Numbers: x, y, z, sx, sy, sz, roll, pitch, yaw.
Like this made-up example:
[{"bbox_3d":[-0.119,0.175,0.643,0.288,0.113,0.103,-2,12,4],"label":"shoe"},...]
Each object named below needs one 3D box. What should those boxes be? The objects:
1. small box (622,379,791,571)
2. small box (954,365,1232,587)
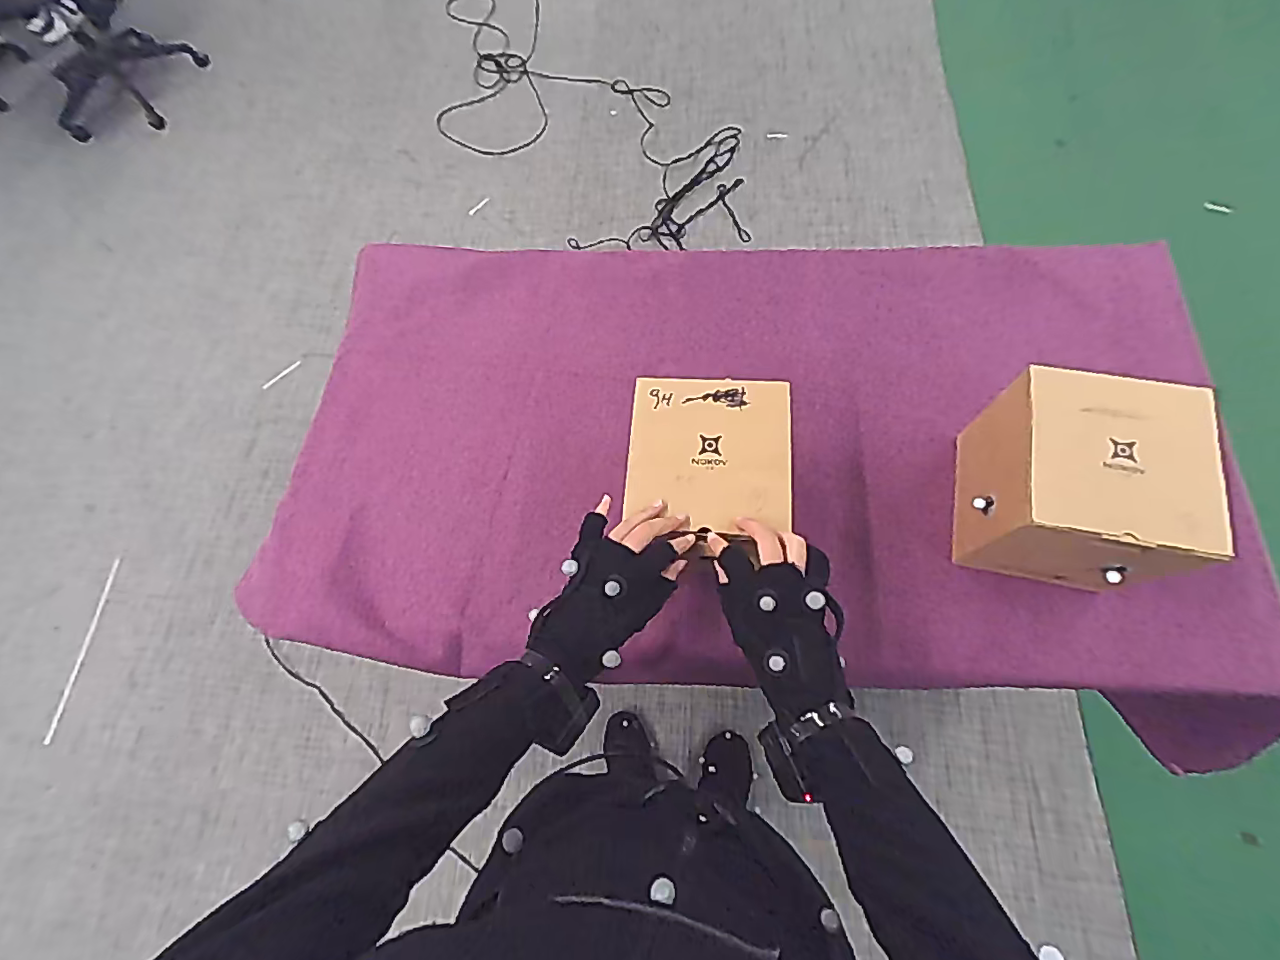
[{"bbox_3d":[0.079,0.003,0.624,0.168,0.176,0.179,3,70,7],"label":"small box"},{"bbox_3d":[0.463,0.005,0.584,0.168,0.176,0.179,11,70,10],"label":"small box"}]
